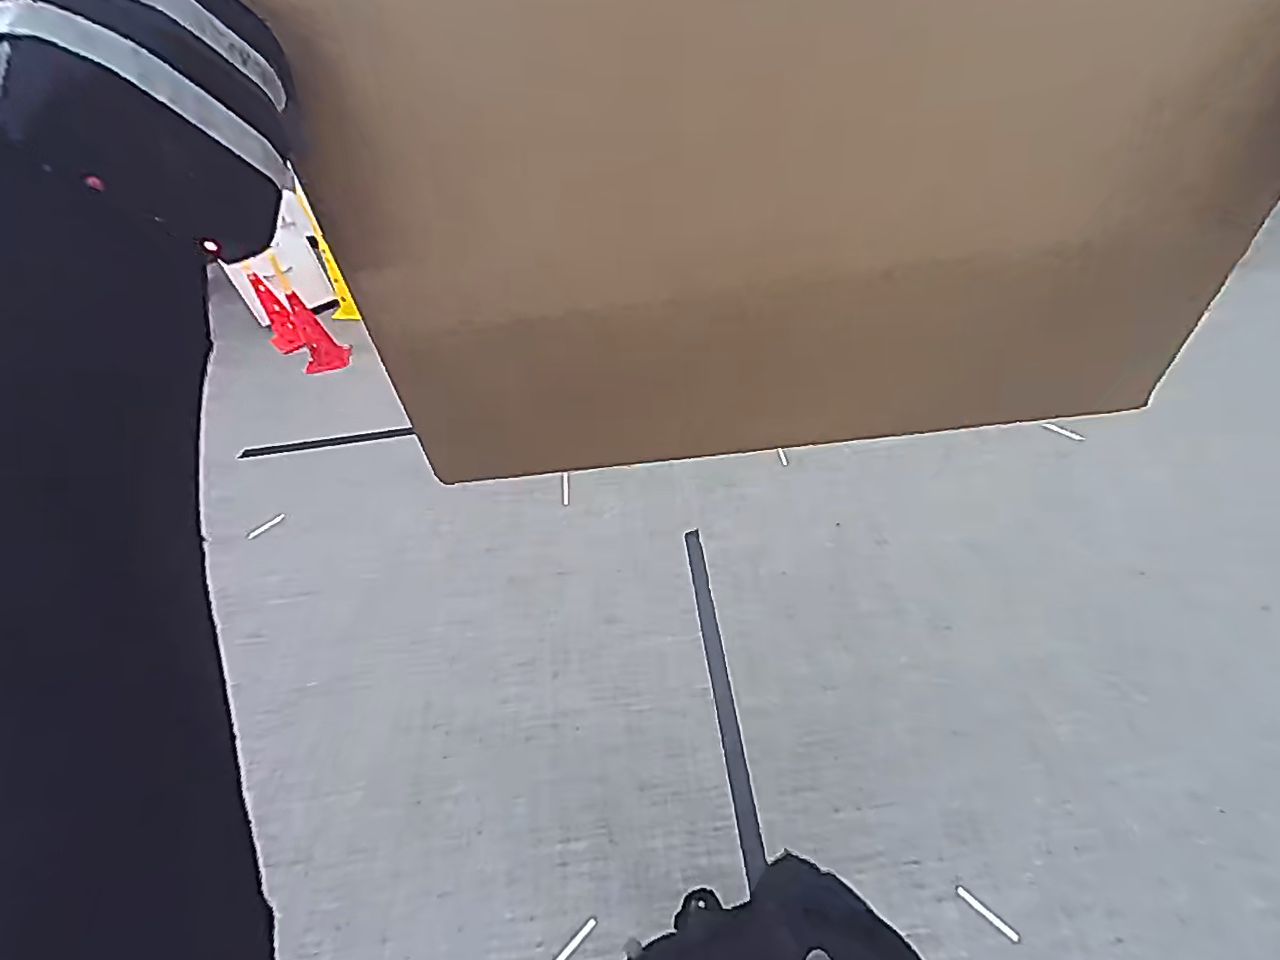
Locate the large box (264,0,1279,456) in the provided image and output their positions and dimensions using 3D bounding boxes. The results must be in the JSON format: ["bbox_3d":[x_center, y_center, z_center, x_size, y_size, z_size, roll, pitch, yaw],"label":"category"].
[{"bbox_3d":[0.059,-0.241,0.325,0.408,0.320,0.320,-6,43,-1],"label":"large box"}]
